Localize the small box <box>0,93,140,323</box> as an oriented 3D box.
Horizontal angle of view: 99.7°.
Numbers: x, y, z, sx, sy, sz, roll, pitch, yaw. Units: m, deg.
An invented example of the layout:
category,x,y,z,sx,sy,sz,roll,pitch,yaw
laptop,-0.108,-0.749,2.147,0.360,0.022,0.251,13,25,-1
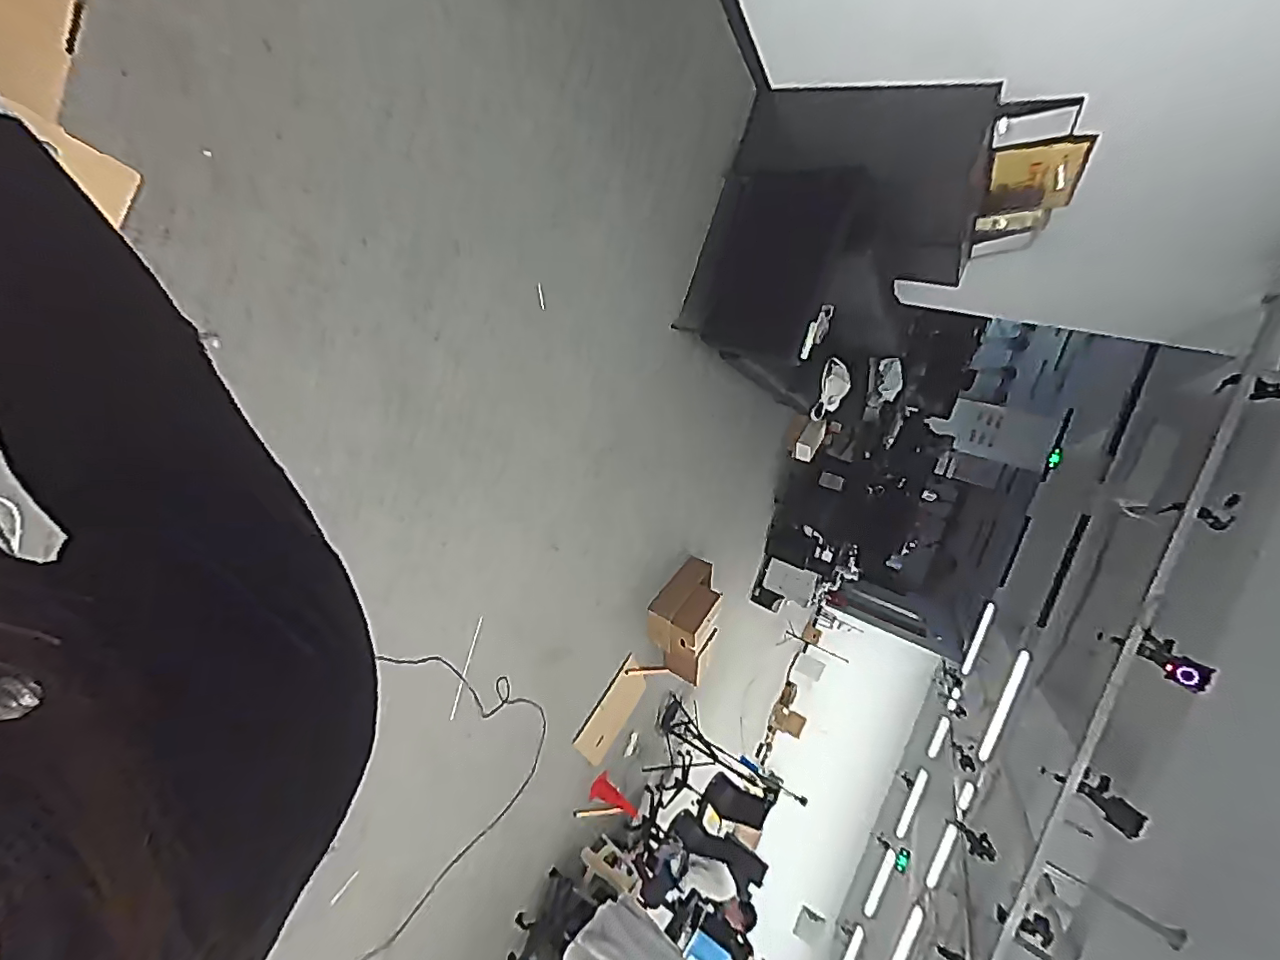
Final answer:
category,x,y,z,sx,sy,sz,roll,pitch,yaw
small box,-0.662,-0.284,0.535,0.168,0.176,0.179,27,84,-62
